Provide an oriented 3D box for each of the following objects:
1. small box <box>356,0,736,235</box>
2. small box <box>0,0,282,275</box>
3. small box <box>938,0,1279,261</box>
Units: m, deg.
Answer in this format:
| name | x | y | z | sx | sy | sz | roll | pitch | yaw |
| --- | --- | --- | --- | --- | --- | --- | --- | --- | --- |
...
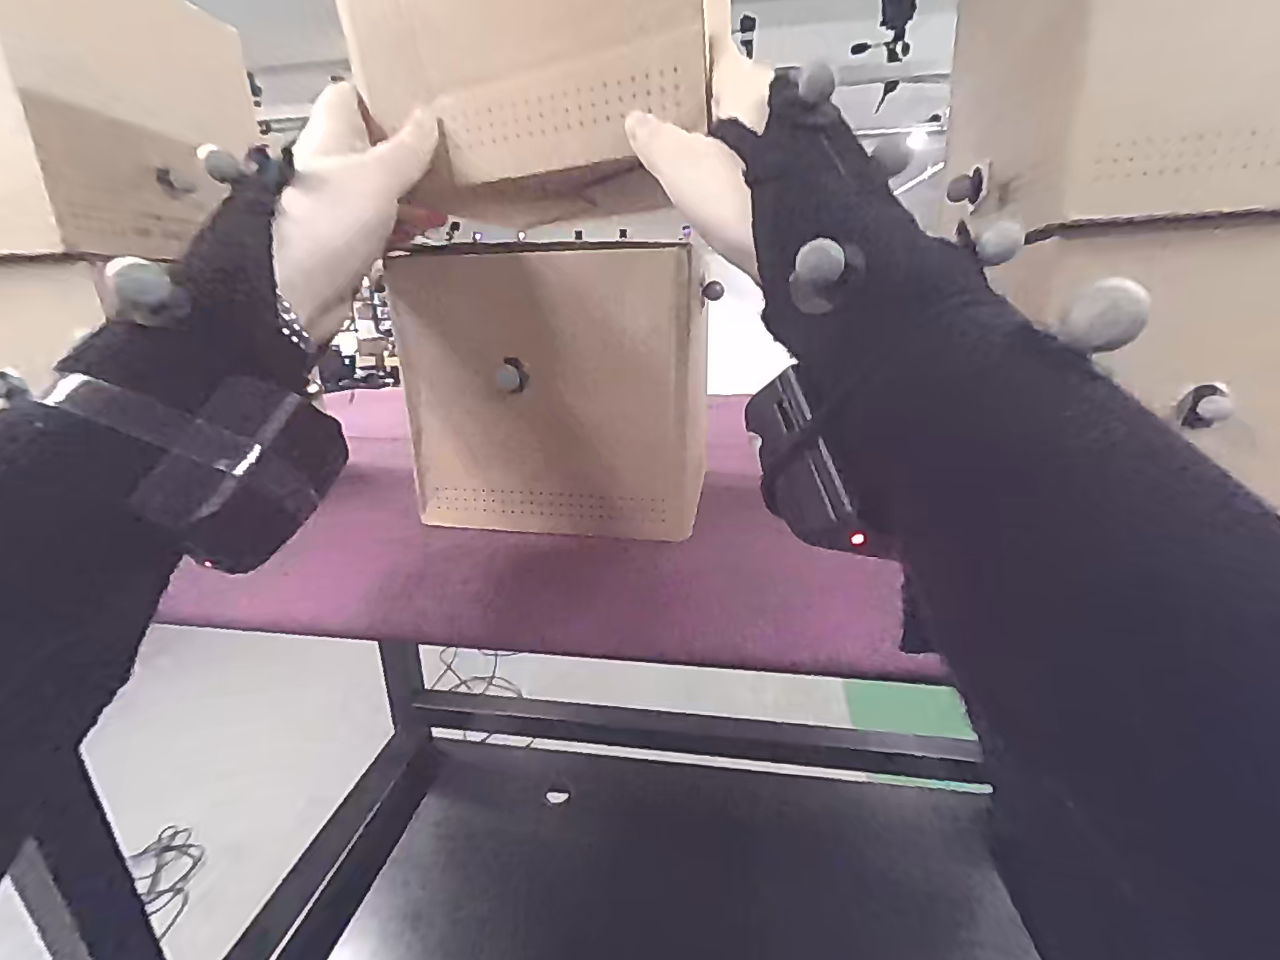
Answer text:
| name | x | y | z | sx | sy | sz | roll | pitch | yaw |
| --- | --- | --- | --- | --- | --- | --- | --- | --- | --- |
| small box | -0.041 | -0.244 | 0.311 | 0.179 | 0.176 | 0.168 | 0 | 18 | 14 |
| small box | -0.388 | -0.233 | 0.361 | 0.179 | 0.176 | 0.168 | 2 | 19 | 7 |
| small box | 0.287 | -0.215 | 0.292 | 0.179 | 0.176 | 0.168 | 0 | 15 | 9 |
